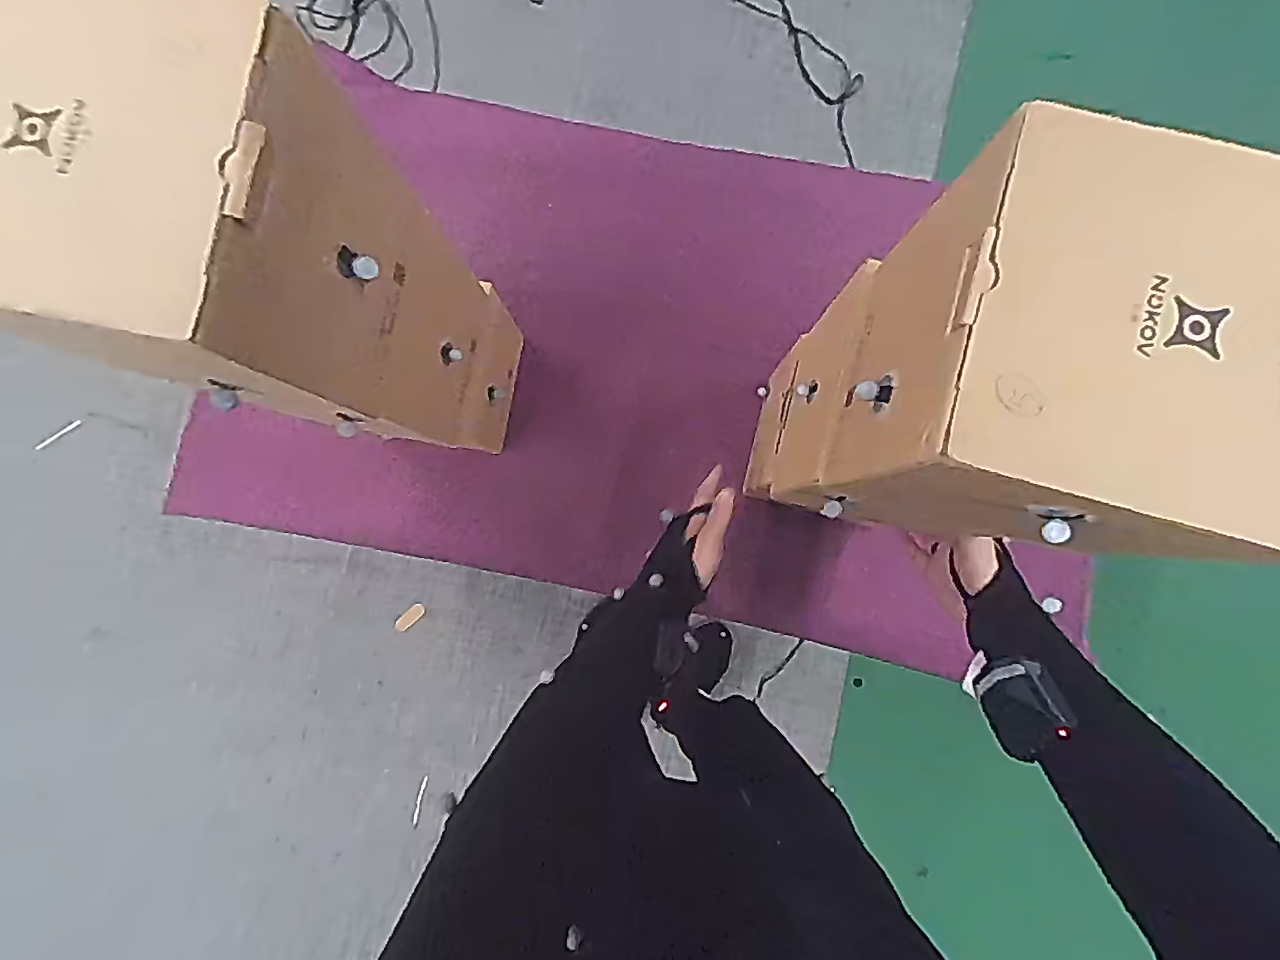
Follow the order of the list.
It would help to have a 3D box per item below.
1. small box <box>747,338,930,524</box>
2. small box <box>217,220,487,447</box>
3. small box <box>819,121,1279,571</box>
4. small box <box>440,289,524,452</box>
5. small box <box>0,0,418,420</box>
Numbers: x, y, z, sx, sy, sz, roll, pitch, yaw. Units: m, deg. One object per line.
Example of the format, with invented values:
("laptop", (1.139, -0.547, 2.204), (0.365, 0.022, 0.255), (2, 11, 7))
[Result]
("small box", (0.236, -0.045, 0.638), (0.179, 0.176, 0.168), (14, 86, 3))
("small box", (-0.260, -0.131, 0.497), (0.179, 0.176, 0.168), (11, 86, 3))
("small box", (0.224, -0.054, 0.311), (0.179, 0.176, 0.168), (16, 87, 3))
("small box", (-0.254, -0.133, 0.663), (0.179, 0.176, 0.168), (9, 86, 3))
("small box", (-0.264, -0.140, 0.334), (0.179, 0.176, 0.168), (10, 86, 2))
